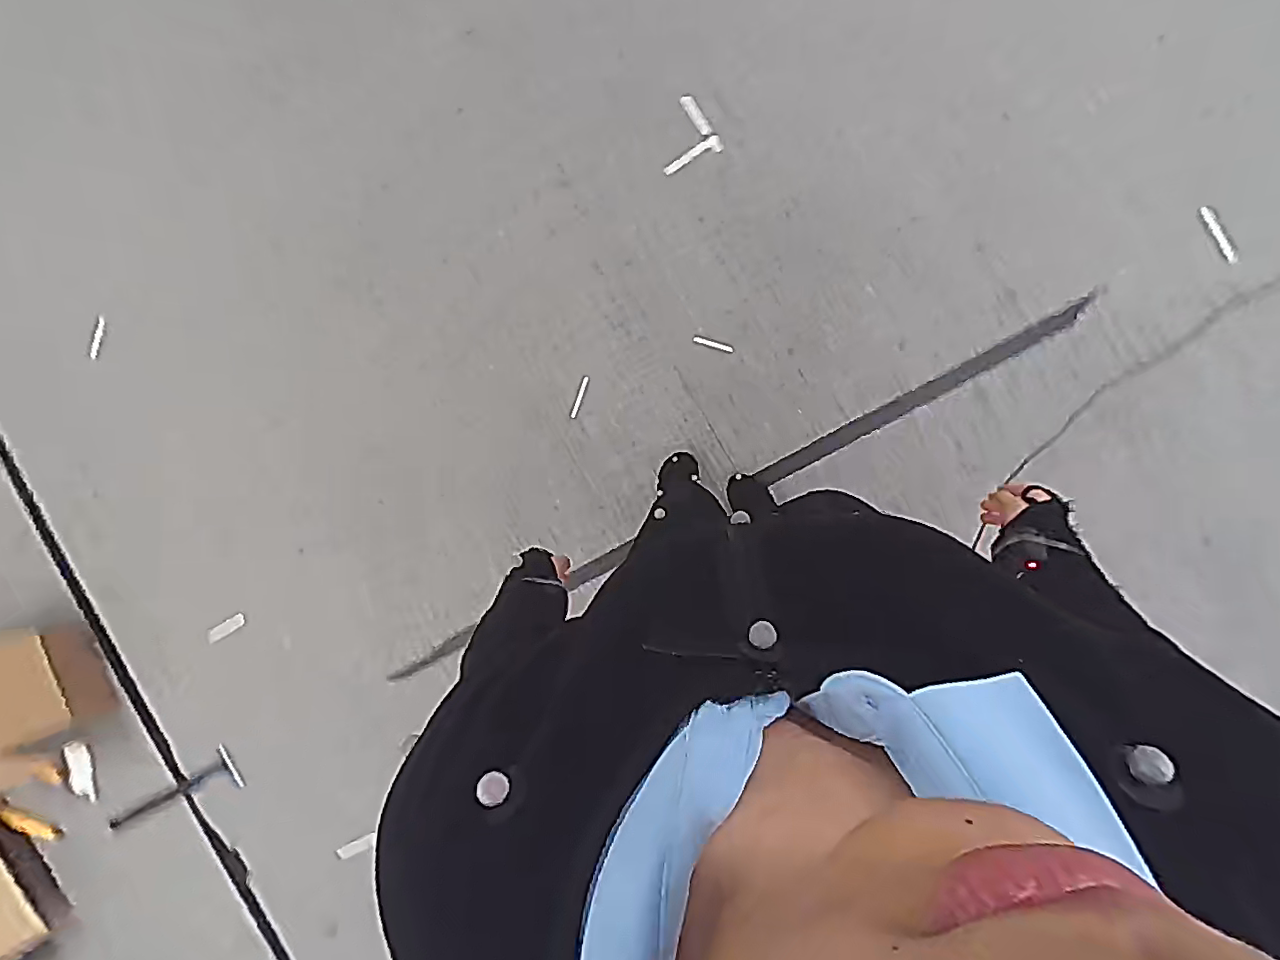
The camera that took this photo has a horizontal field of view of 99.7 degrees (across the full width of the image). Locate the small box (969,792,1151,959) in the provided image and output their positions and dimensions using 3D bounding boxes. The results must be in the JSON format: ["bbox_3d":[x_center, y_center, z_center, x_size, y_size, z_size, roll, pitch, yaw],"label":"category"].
[{"bbox_3d":[0.767,0.737,1.009,0.168,0.176,0.179,-35,87,8],"label":"small box"}]
